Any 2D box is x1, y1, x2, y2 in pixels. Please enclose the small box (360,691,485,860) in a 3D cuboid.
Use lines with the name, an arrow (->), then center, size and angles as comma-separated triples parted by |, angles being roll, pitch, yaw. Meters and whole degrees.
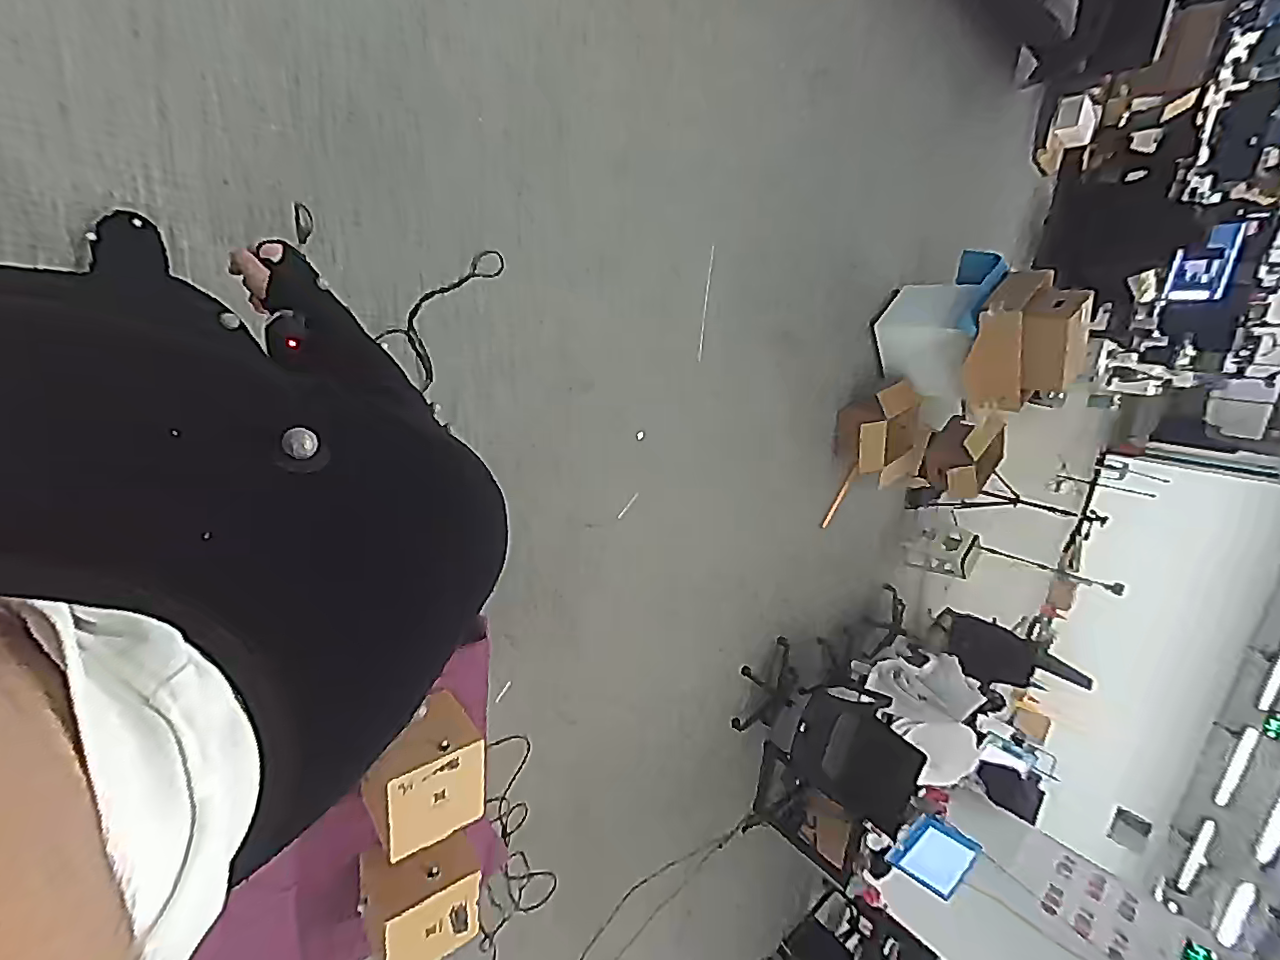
small box -> -0.400, 0.526, 0.990 | 0.168, 0.176, 0.179 | -9, 112, -41

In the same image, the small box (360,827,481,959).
small box -> -0.433, 0.805, 1.063 | 0.179, 0.176, 0.168 | -6, 109, -40
